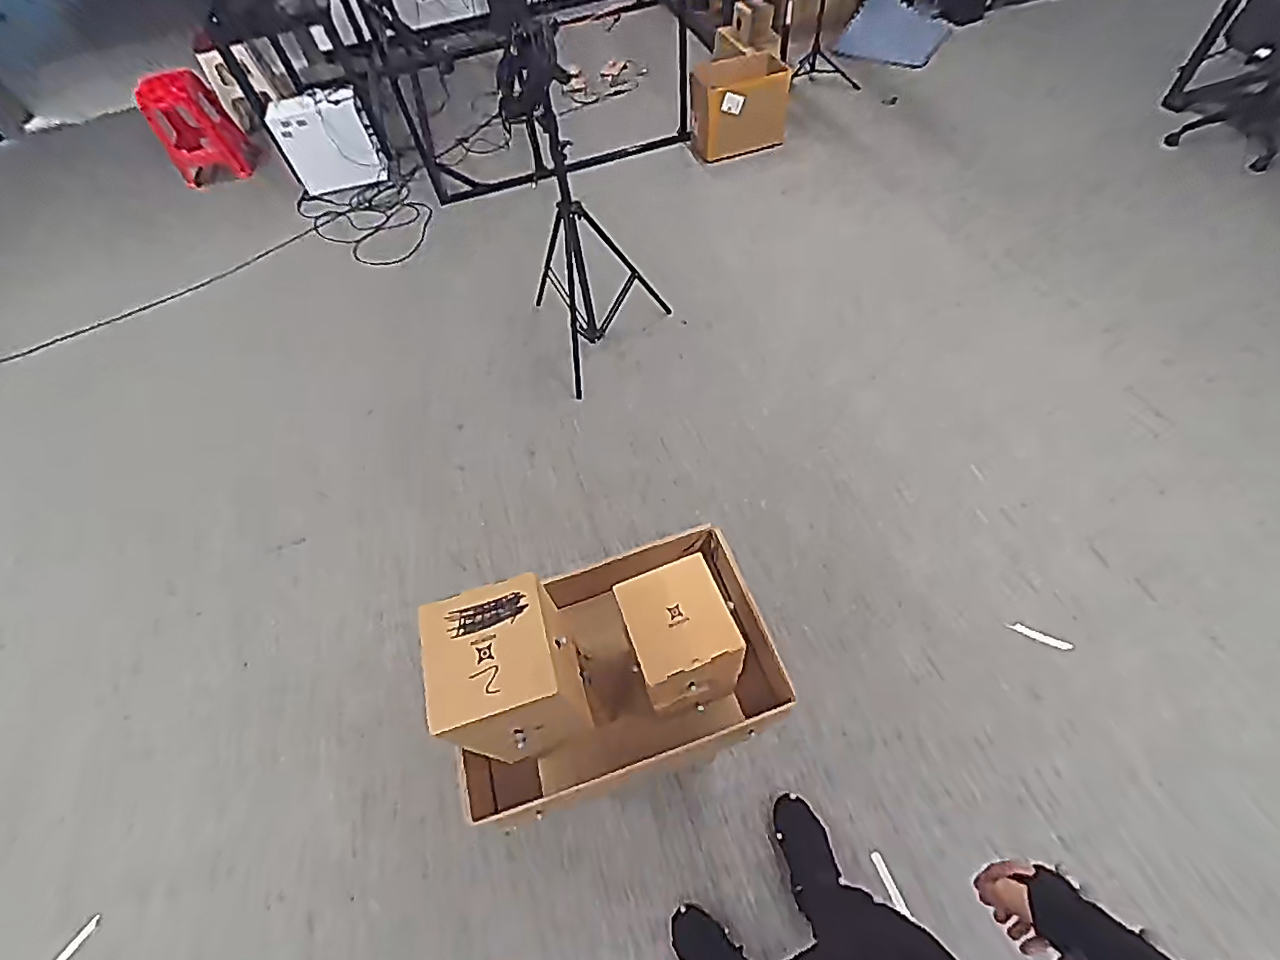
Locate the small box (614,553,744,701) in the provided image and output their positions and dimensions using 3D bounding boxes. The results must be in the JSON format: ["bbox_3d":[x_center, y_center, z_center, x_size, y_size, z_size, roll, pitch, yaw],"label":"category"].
[{"bbox_3d":[0.064,0.260,0.944,0.168,0.176,0.179,-21,58,-7],"label":"small box"}]

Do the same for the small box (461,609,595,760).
[{"bbox_3d":[-0.187,0.350,0.916,0.168,0.176,0.179,-19,56,-4],"label":"small box"}]
